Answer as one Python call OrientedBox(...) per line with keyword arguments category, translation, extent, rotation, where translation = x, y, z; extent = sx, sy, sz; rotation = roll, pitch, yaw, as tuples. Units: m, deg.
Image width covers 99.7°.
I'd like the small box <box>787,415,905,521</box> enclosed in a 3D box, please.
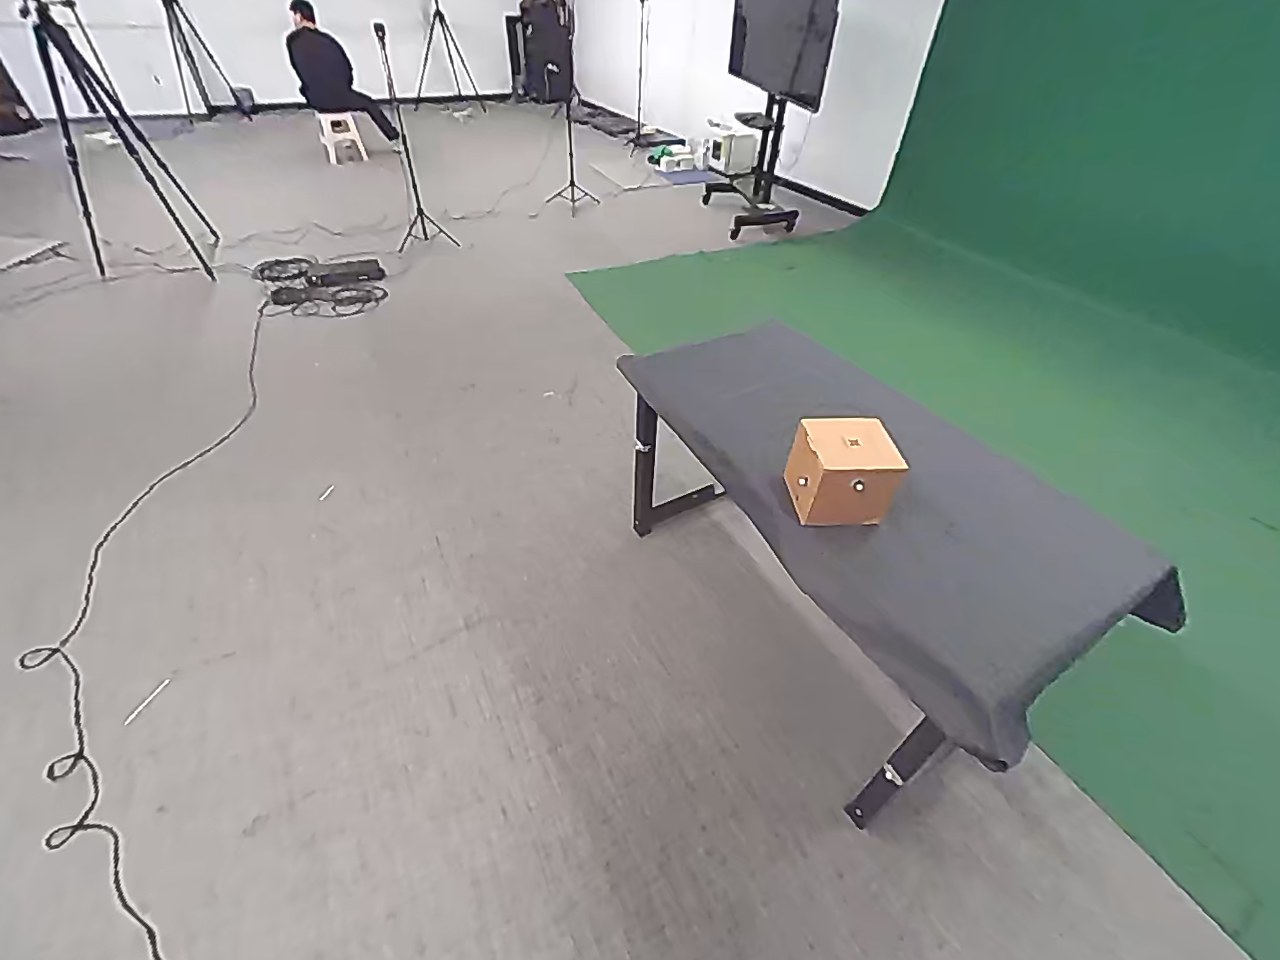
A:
OrientedBox(category="small box", translation=(0.428, -0.024, 1.165), extent=(0.179, 0.176, 0.168), rotation=(0, 44, -5))
